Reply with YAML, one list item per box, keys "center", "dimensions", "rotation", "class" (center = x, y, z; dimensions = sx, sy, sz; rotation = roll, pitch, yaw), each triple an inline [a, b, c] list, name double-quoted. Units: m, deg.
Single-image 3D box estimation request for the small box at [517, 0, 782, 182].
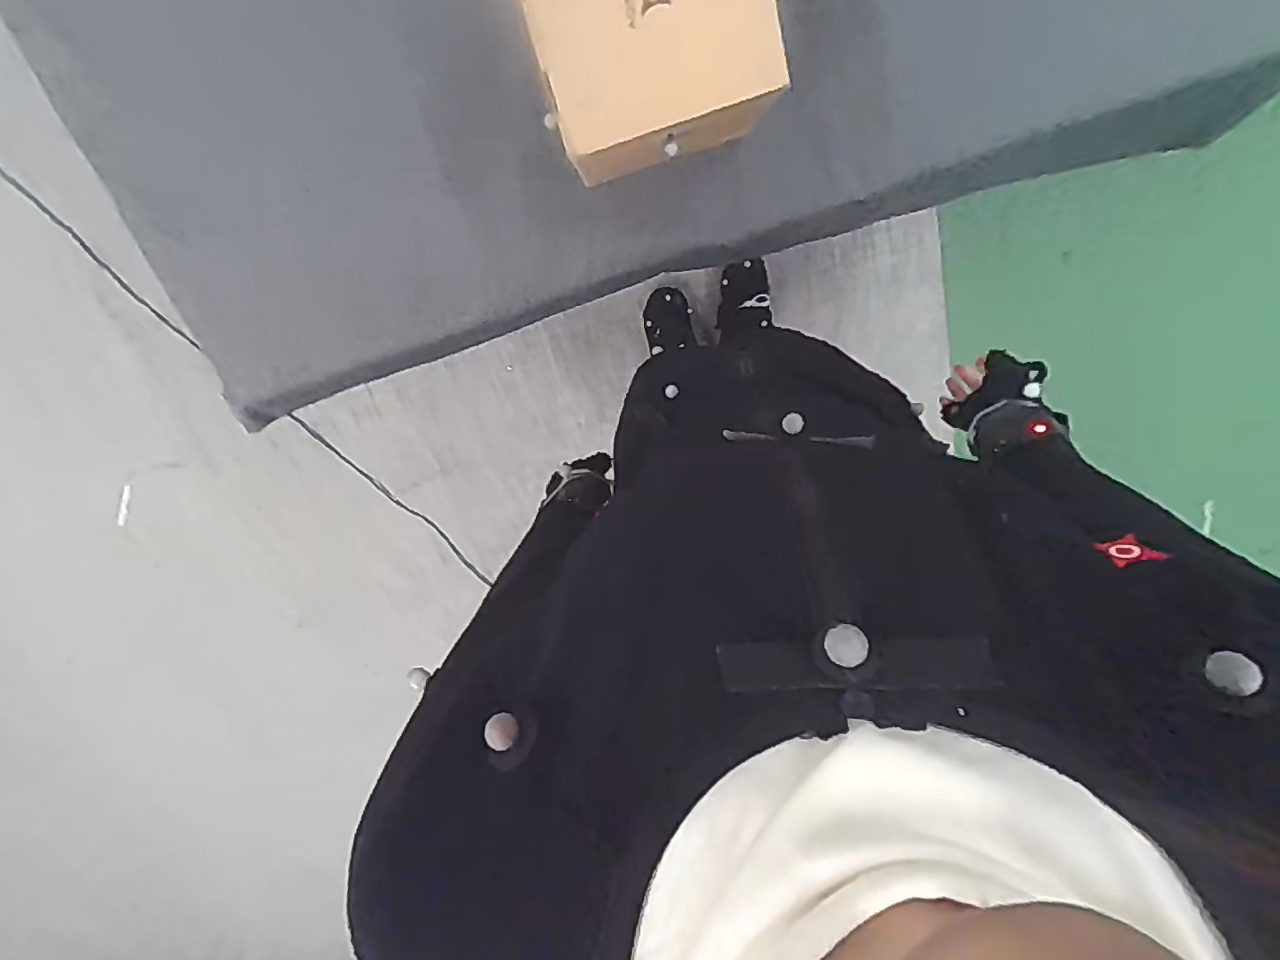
- center: [0.002, -0.374, 0.461]
  dimensions: [0.179, 0.176, 0.168]
  rotation: [-16, 113, 5]
  class: "small box"
